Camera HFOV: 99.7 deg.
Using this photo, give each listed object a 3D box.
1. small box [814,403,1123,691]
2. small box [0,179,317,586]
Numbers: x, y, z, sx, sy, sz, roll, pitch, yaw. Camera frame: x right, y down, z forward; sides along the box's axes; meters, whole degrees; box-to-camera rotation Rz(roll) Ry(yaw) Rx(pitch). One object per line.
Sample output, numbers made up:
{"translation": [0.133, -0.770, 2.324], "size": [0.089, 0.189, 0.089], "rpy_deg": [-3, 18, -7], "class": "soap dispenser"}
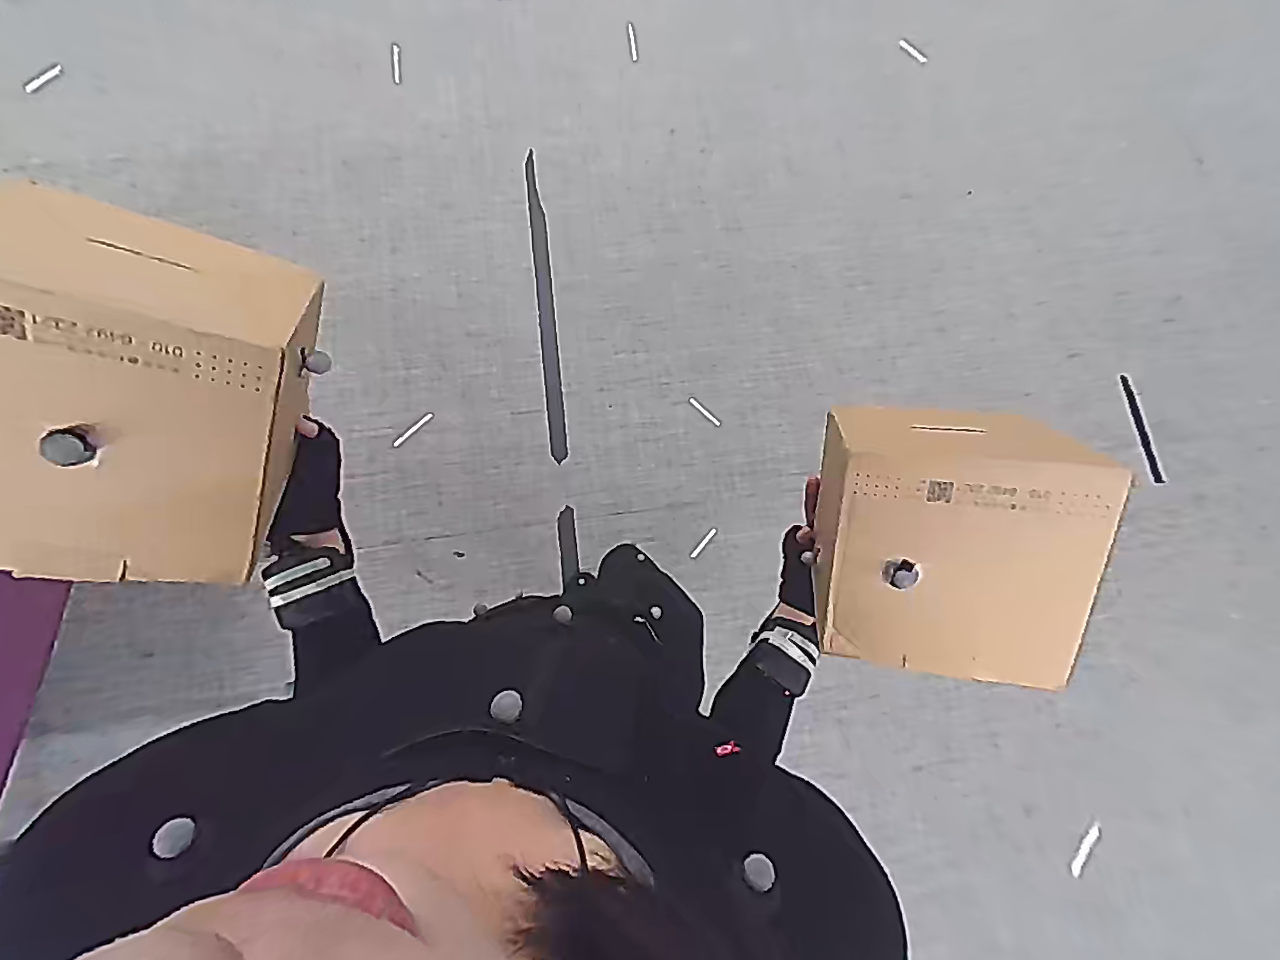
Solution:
{"translation": [0.238, 0.033, 0.435], "size": [0.168, 0.179, 0.176], "rpy_deg": [7, 109, 13], "class": "small box"}
{"translation": [-0.311, -0.061, 0.328], "size": [0.168, 0.179, 0.176], "rpy_deg": [13, 115, -29], "class": "small box"}
